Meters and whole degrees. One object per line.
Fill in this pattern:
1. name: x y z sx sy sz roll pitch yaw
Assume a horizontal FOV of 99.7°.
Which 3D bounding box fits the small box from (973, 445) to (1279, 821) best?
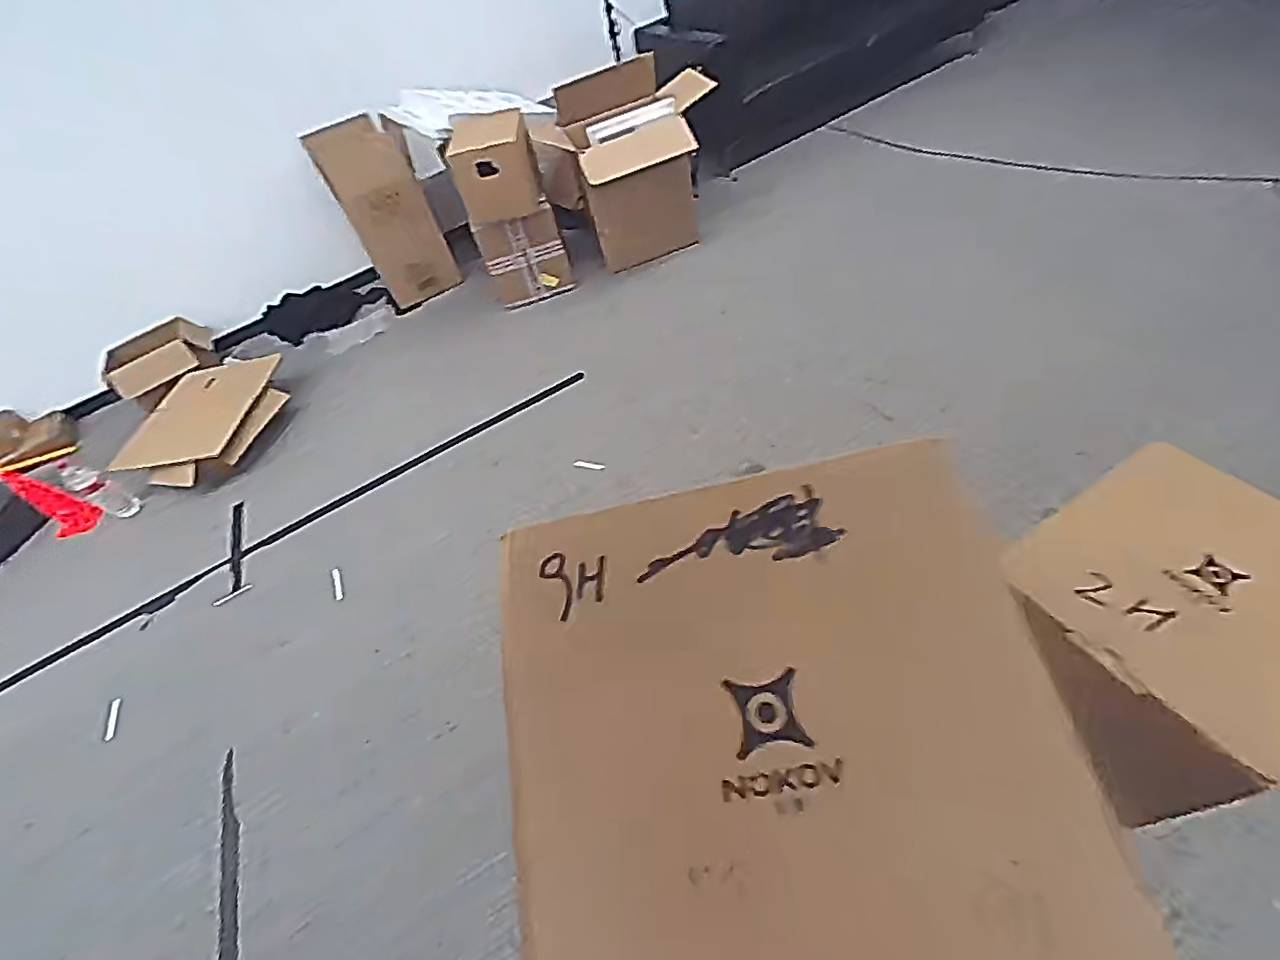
1. small box: 0.371 0.114 0.397 0.179 0.176 0.168 -31 49 -8
